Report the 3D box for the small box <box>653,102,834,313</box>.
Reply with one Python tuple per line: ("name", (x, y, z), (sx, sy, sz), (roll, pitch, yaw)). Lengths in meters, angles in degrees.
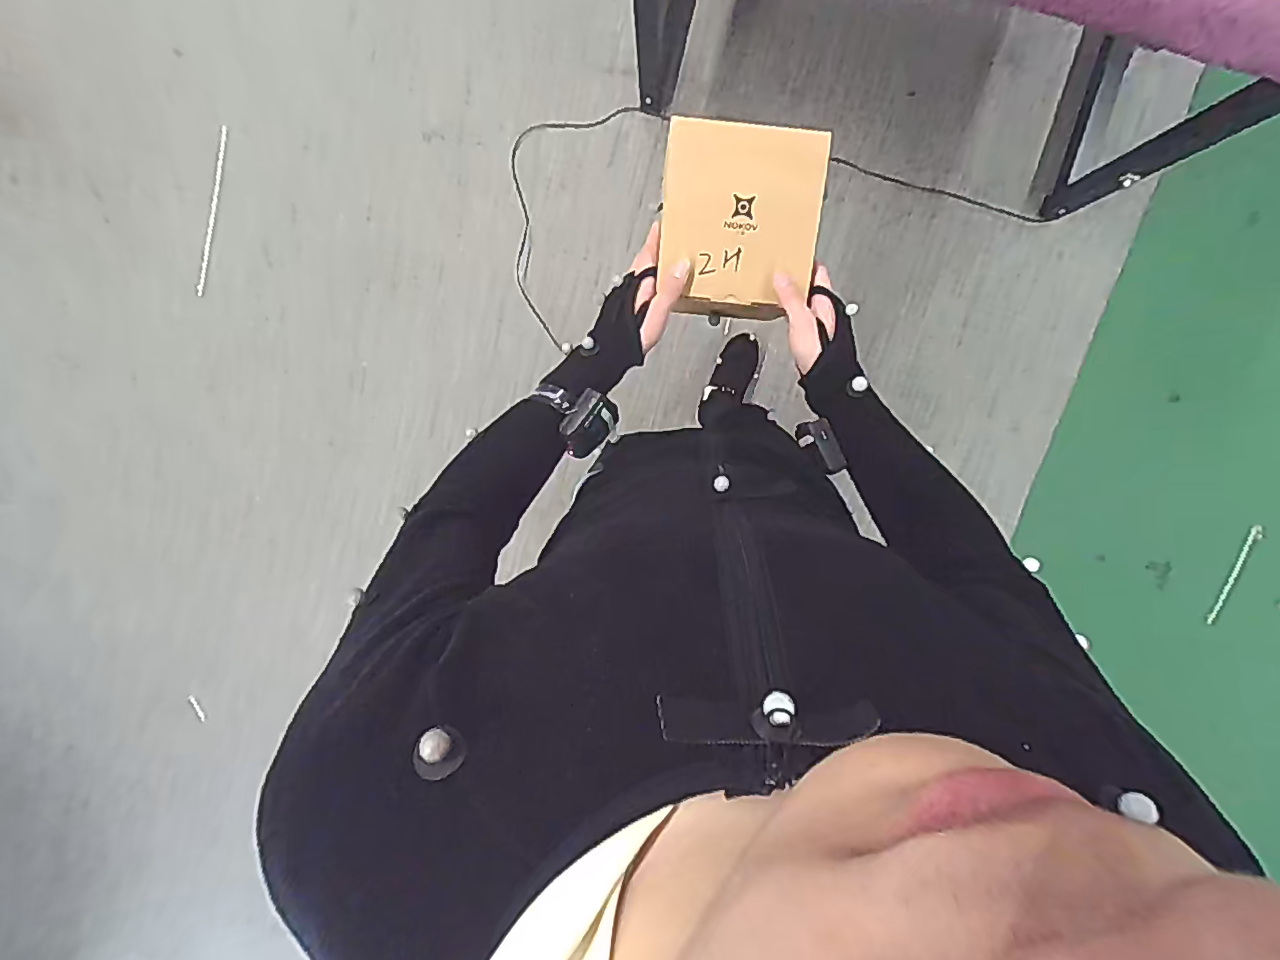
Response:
("small box", (0.106, -0.302, 0.636), (0.168, 0.176, 0.179), (6, 103, -1))
